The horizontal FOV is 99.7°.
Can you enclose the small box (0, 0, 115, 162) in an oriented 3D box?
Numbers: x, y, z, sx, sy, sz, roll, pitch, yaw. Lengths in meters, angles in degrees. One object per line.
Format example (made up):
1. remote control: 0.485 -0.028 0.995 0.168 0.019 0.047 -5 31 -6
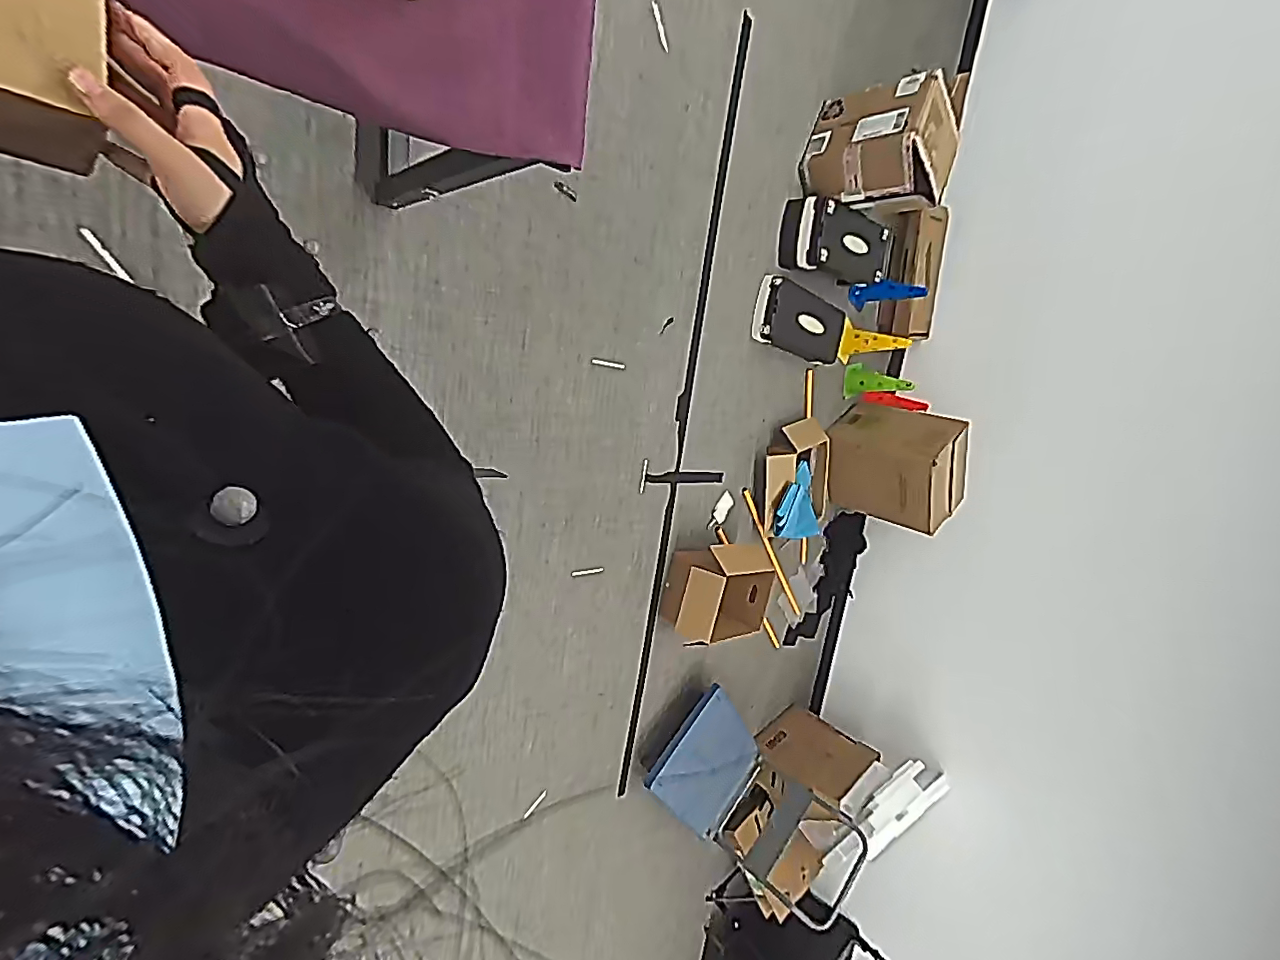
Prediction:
1. small box: -0.424 -0.317 0.312 0.168 0.176 0.179 -2 100 -49
